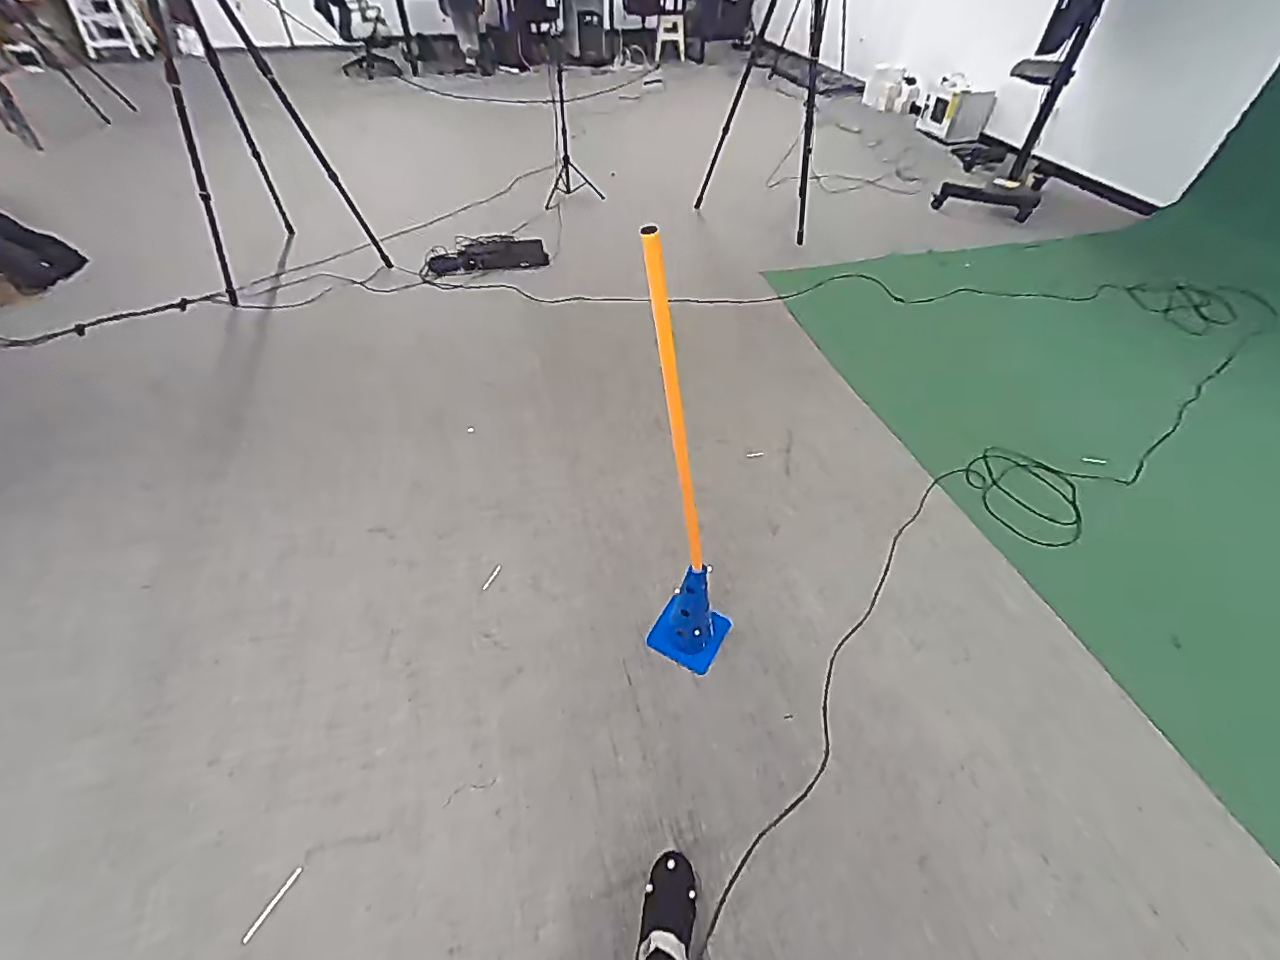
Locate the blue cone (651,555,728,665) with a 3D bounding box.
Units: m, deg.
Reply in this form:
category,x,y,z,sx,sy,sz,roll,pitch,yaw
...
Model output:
category,x,y,z,sx,sy,sz,roll,pitch,yaw
blue cone,0.141,0.329,1.467,0.193,0.380,0.192,22,52,20
